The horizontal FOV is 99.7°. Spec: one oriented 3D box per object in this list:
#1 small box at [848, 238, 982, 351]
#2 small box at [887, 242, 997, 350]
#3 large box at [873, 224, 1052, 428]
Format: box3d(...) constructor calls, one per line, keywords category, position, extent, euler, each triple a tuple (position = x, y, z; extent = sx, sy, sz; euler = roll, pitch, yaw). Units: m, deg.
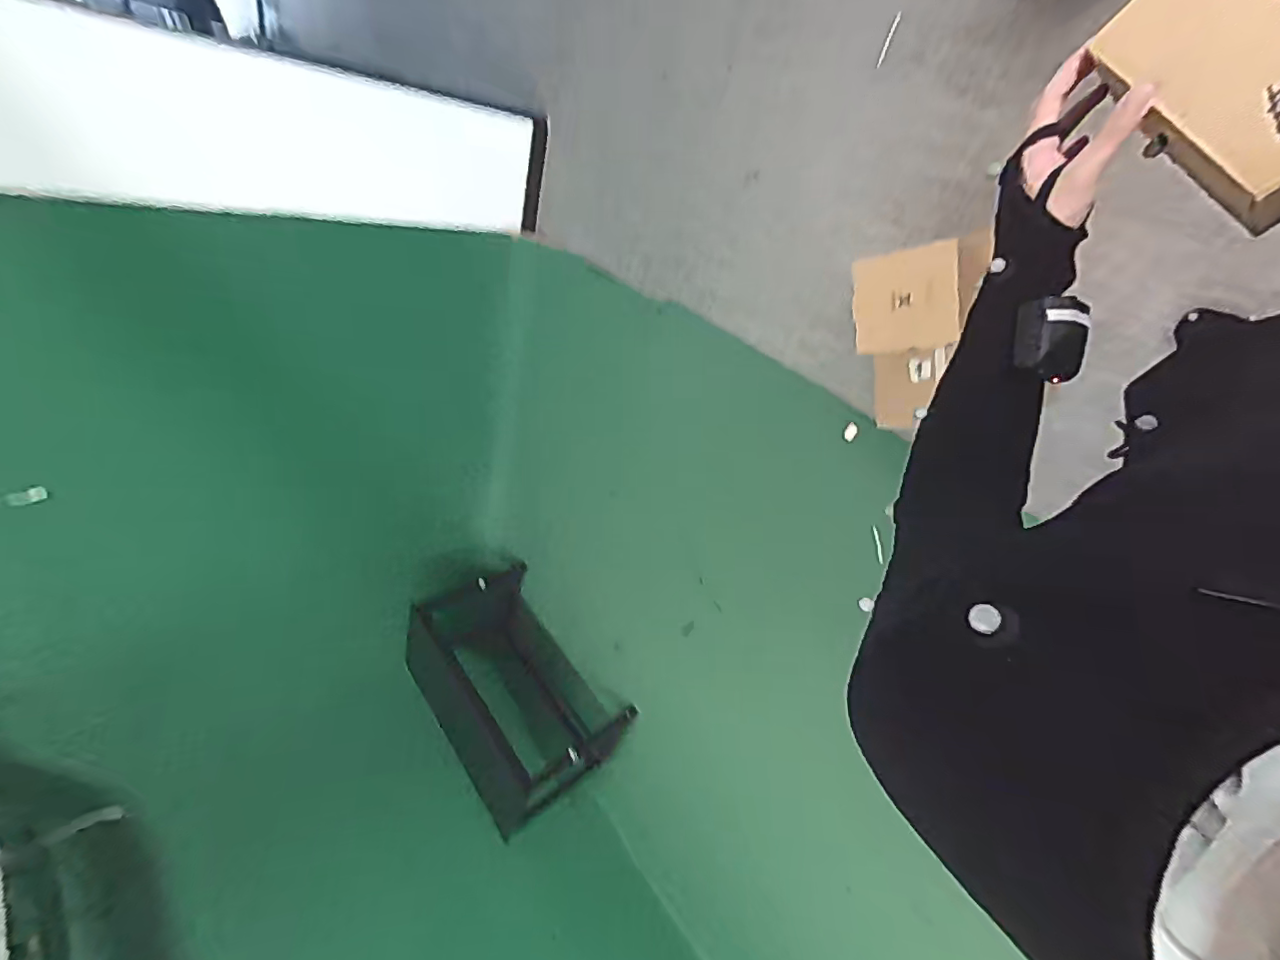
box3d(category="small box", position=(0.504, -0.332, 0.990), extent=(0.179, 0.176, 0.168), euler=(4, 107, 45))
box3d(category="small box", position=(0.613, -0.368, 1.105), extent=(0.168, 0.176, 0.179), euler=(2, 105, 46))
box3d(category="large box", position=(0.777, -0.355, 1.305), extent=(0.320, 0.320, 0.408), euler=(3, 106, 47))
